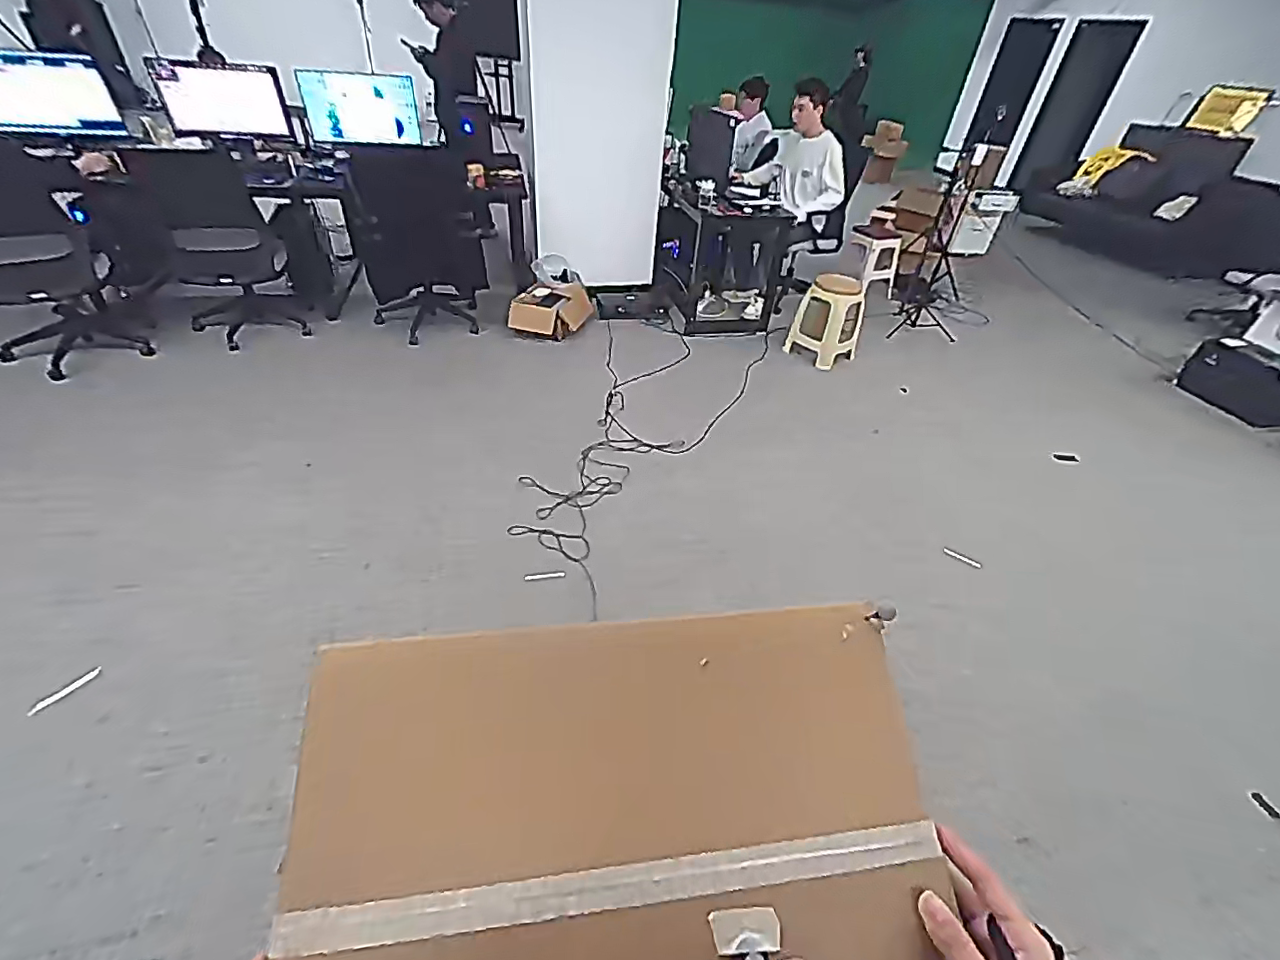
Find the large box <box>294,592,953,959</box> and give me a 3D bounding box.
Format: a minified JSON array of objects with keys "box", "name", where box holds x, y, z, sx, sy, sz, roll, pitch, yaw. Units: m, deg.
[{"box":[-0.022,0.303,0.482,0.408,0.320,0.320,-3,67,-7],"name":"large box"}]
